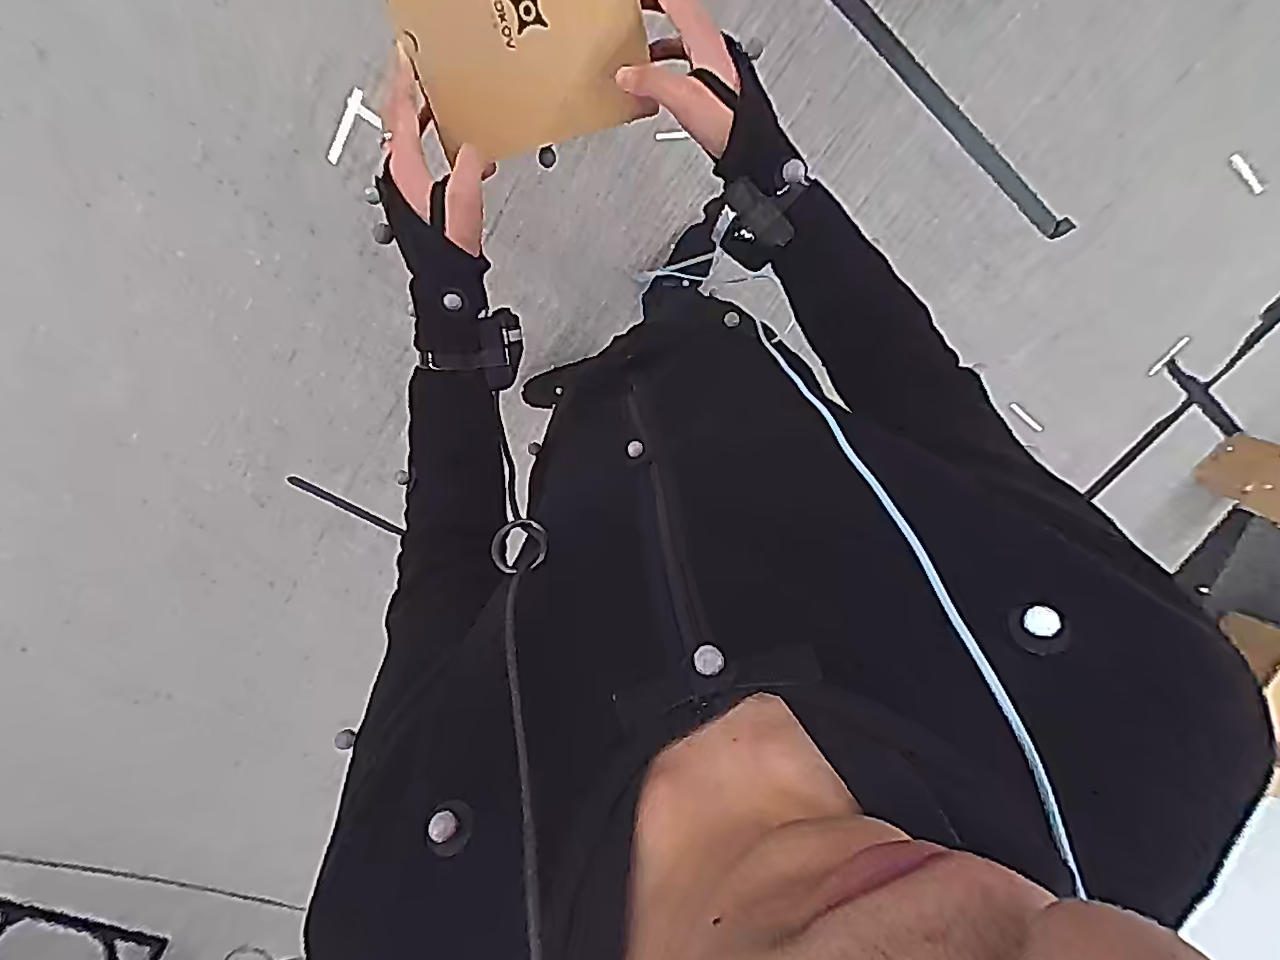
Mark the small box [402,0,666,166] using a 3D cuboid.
[{"bbox_3d":[-0.095,-0.382,0.449,0.179,0.176,0.168,-18,127,-3],"label":"small box"}]
